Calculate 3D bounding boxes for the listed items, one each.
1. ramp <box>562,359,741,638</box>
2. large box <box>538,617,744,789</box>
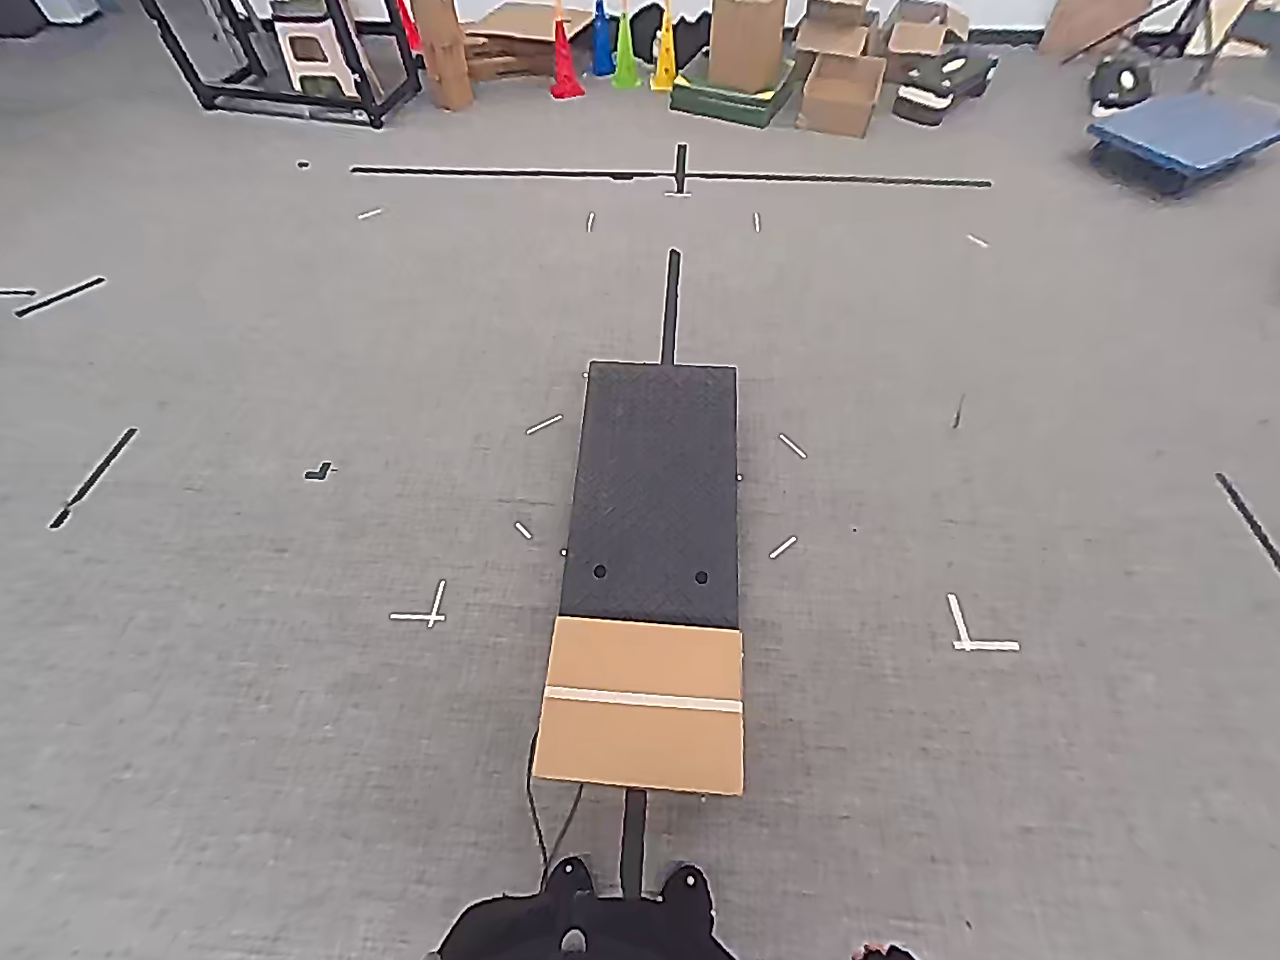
[{"bbox_3d":[0.052,0.065,1.617,0.509,0.206,0.991,2,57,1],"label":"ramp"},{"bbox_3d":[0.014,0.516,1.238,0.408,0.320,0.320,4,60,3],"label":"large box"}]
